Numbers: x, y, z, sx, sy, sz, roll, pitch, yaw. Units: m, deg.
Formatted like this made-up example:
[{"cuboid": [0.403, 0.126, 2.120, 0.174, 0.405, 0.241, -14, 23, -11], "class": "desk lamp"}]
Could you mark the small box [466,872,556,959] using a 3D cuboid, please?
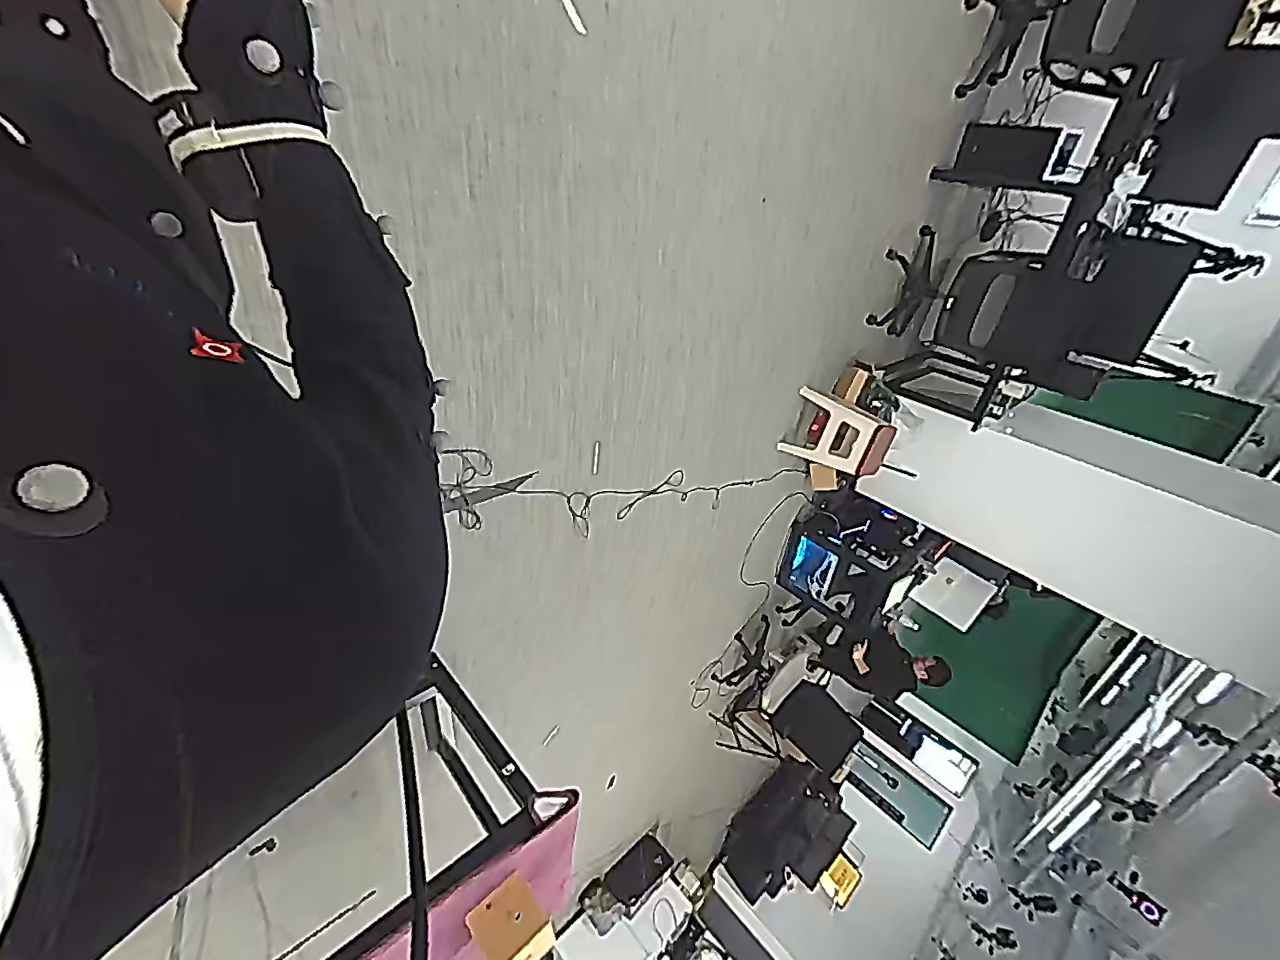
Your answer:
[{"cuboid": [-0.350, 1.217, 1.466, 0.168, 0.176, 0.179, -28, 134, -34], "class": "small box"}]
